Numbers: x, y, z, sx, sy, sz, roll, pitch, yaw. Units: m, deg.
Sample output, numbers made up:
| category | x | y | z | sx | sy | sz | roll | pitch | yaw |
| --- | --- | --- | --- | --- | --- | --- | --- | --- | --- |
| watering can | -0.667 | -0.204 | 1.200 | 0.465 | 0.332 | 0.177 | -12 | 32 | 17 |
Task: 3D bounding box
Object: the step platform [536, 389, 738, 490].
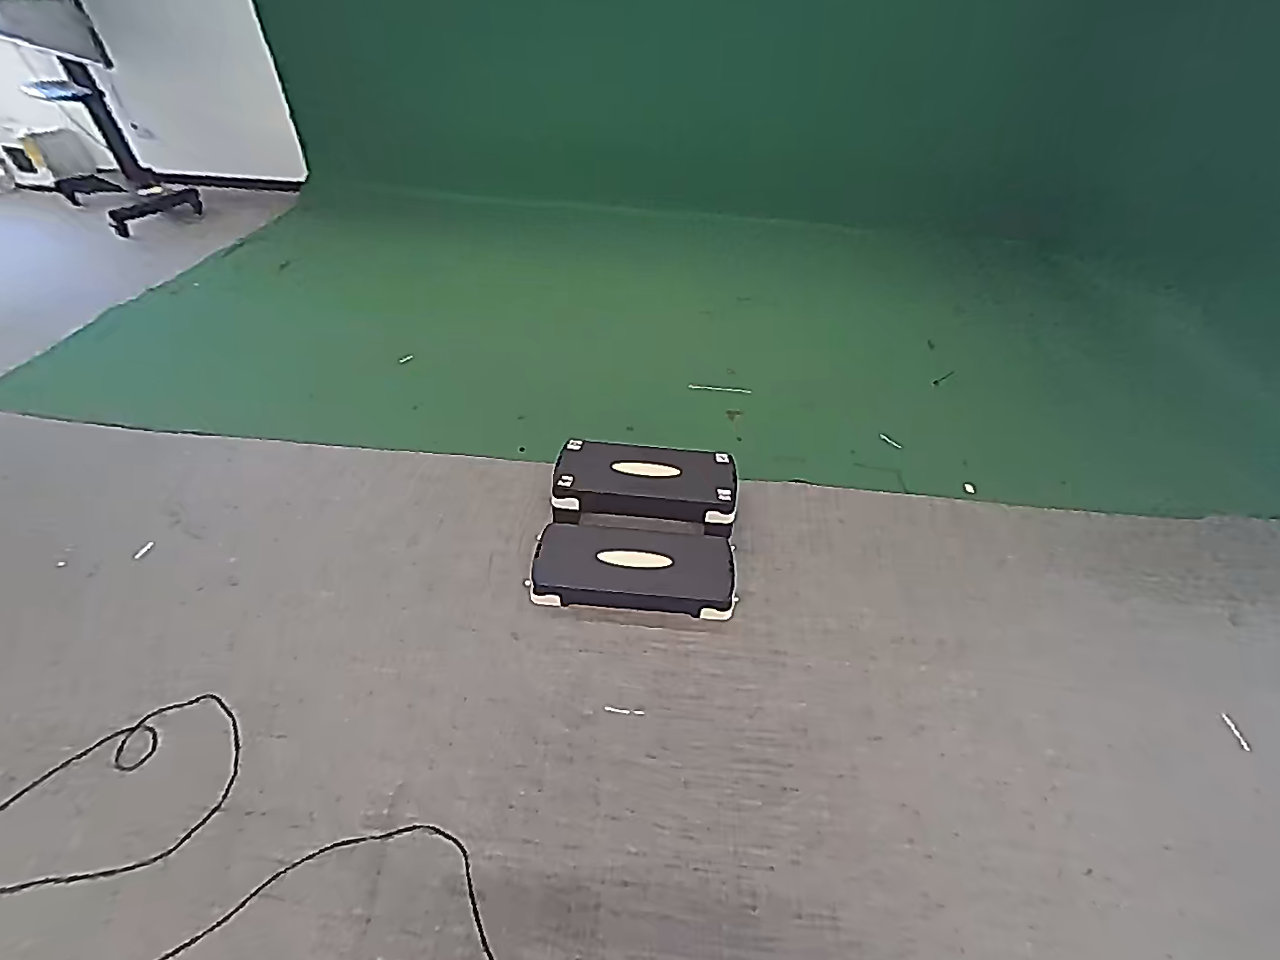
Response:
| category | x | y | z | sx | sy | sz | roll | pitch | yaw |
| --- | --- | --- | --- | --- | --- | --- | --- | --- | --- |
| step platform | -0.009 | -0.143 | 1.904 | 0.684 | 0.204 | 0.286 | 4 | 44 | 2 |
